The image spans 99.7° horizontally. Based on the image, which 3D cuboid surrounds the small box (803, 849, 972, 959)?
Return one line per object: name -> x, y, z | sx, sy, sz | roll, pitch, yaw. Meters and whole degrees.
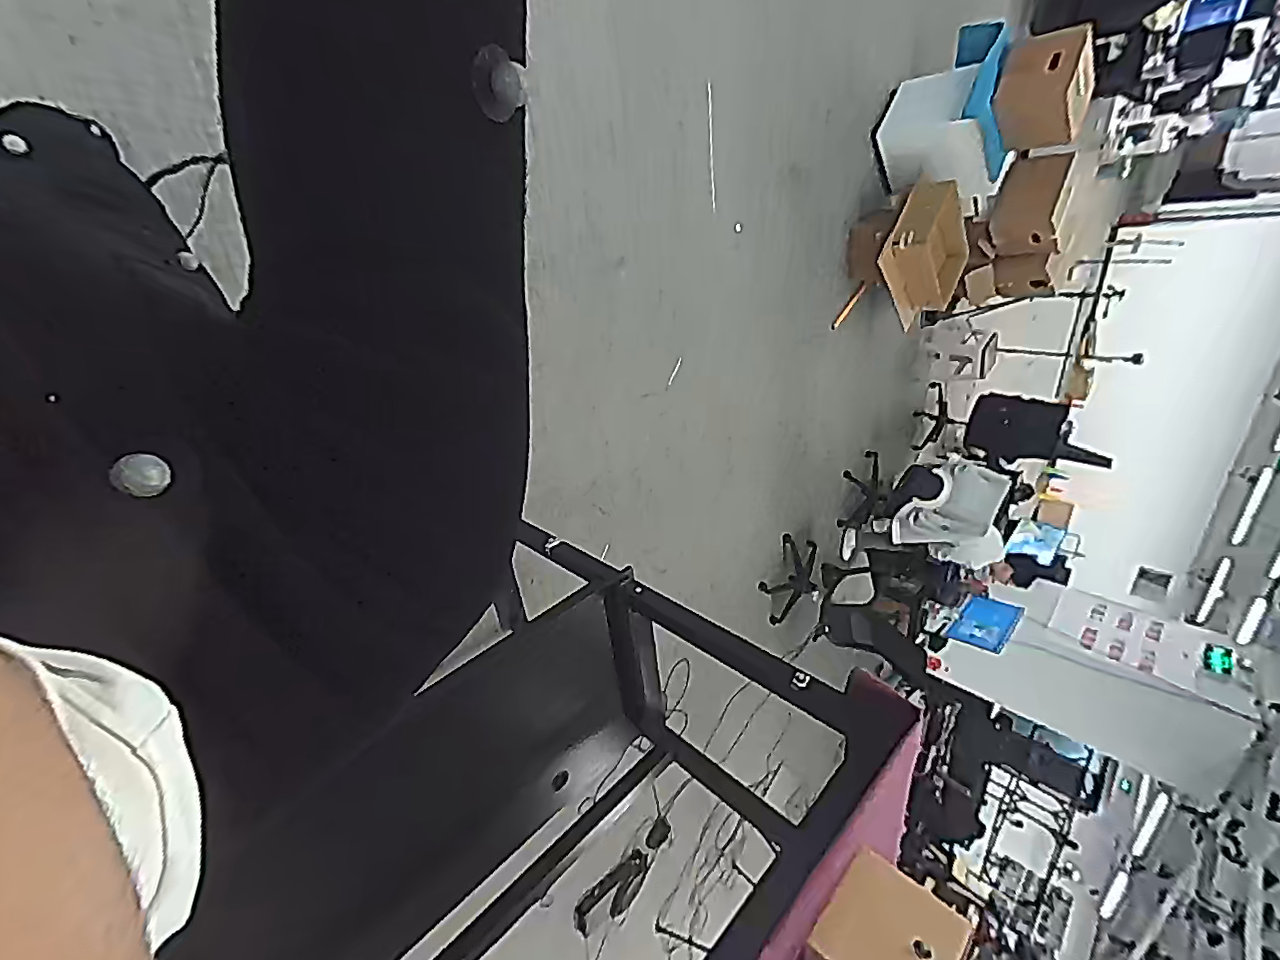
small box -> 0.359, 0.705, 0.799 | 0.179, 0.176, 0.168 | -30, 124, -35
